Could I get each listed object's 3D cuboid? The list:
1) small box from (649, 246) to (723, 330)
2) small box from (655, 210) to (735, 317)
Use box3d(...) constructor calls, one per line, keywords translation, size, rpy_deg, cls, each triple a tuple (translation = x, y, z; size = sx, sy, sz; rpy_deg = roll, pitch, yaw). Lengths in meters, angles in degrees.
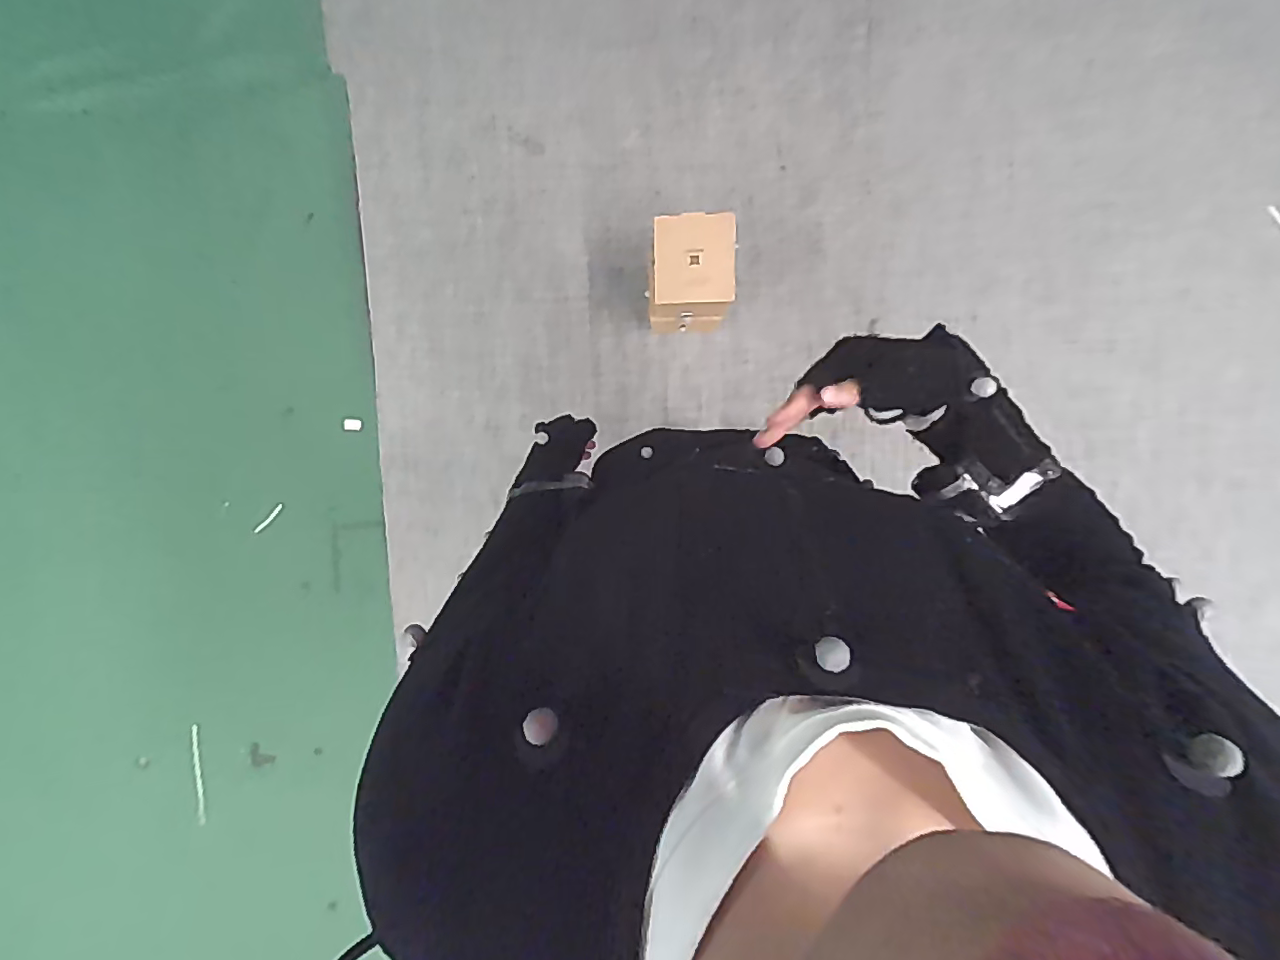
box3d(translation=(0.113, -0.469, 1.335), size=(0.179, 0.176, 0.168), rpy_deg=(0, 96, 5), cls="small box")
box3d(translation=(0.117, -0.462, 1.174), size=(0.168, 0.176, 0.179), rpy_deg=(-1, 96, 5), cls="small box")
